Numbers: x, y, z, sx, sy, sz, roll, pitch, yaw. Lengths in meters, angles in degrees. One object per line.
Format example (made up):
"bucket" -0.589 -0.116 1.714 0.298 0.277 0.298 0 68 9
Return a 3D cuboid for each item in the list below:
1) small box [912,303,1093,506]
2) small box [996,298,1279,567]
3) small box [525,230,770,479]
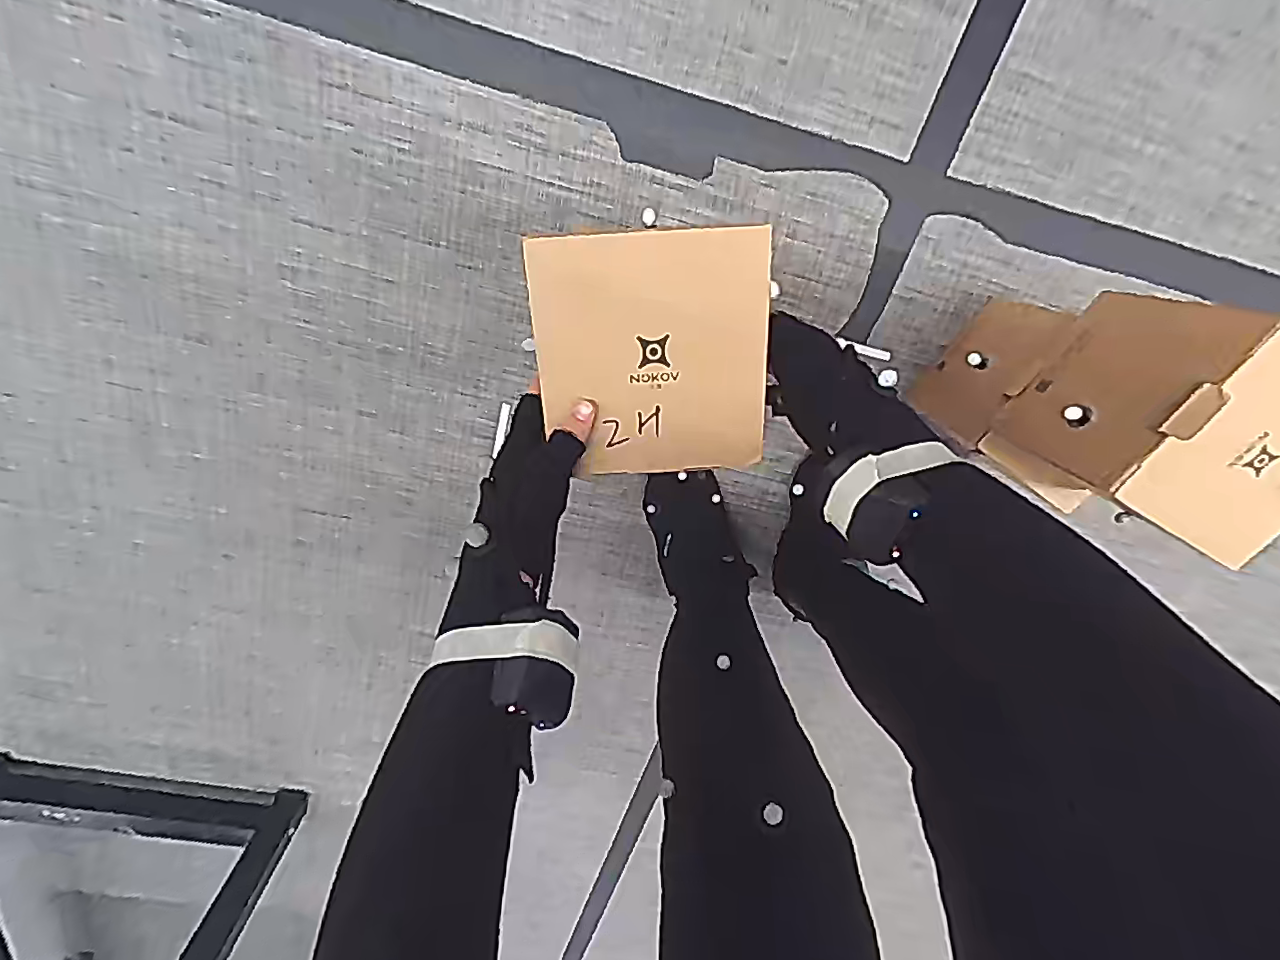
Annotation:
"small box" 0.484 -0.102 0.670 0.179 0.176 0.168 27 111 -16
"small box" 0.494 -0.055 0.510 0.179 0.176 0.168 25 113 -15
"small box" 0.001 -0.115 0.460 0.168 0.176 0.179 0 117 -1
